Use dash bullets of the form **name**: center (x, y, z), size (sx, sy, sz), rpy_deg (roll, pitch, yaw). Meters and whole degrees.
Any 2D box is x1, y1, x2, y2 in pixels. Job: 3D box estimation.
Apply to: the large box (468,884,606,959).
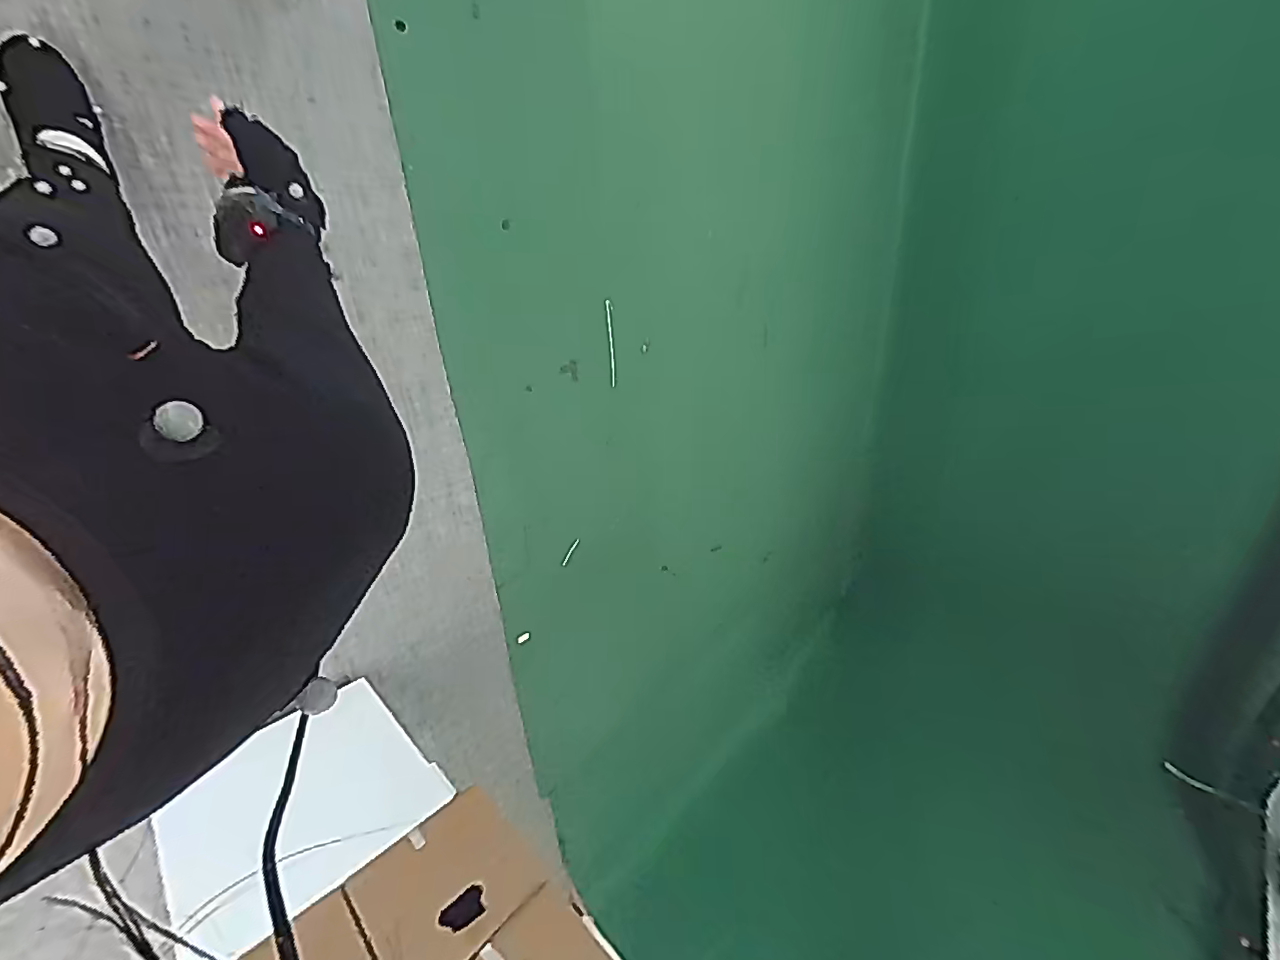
- **large box**: center (-0.175, 1.057, 0.969), size (0.320, 0.320, 0.408), rpy_deg (-28, 126, -38)
